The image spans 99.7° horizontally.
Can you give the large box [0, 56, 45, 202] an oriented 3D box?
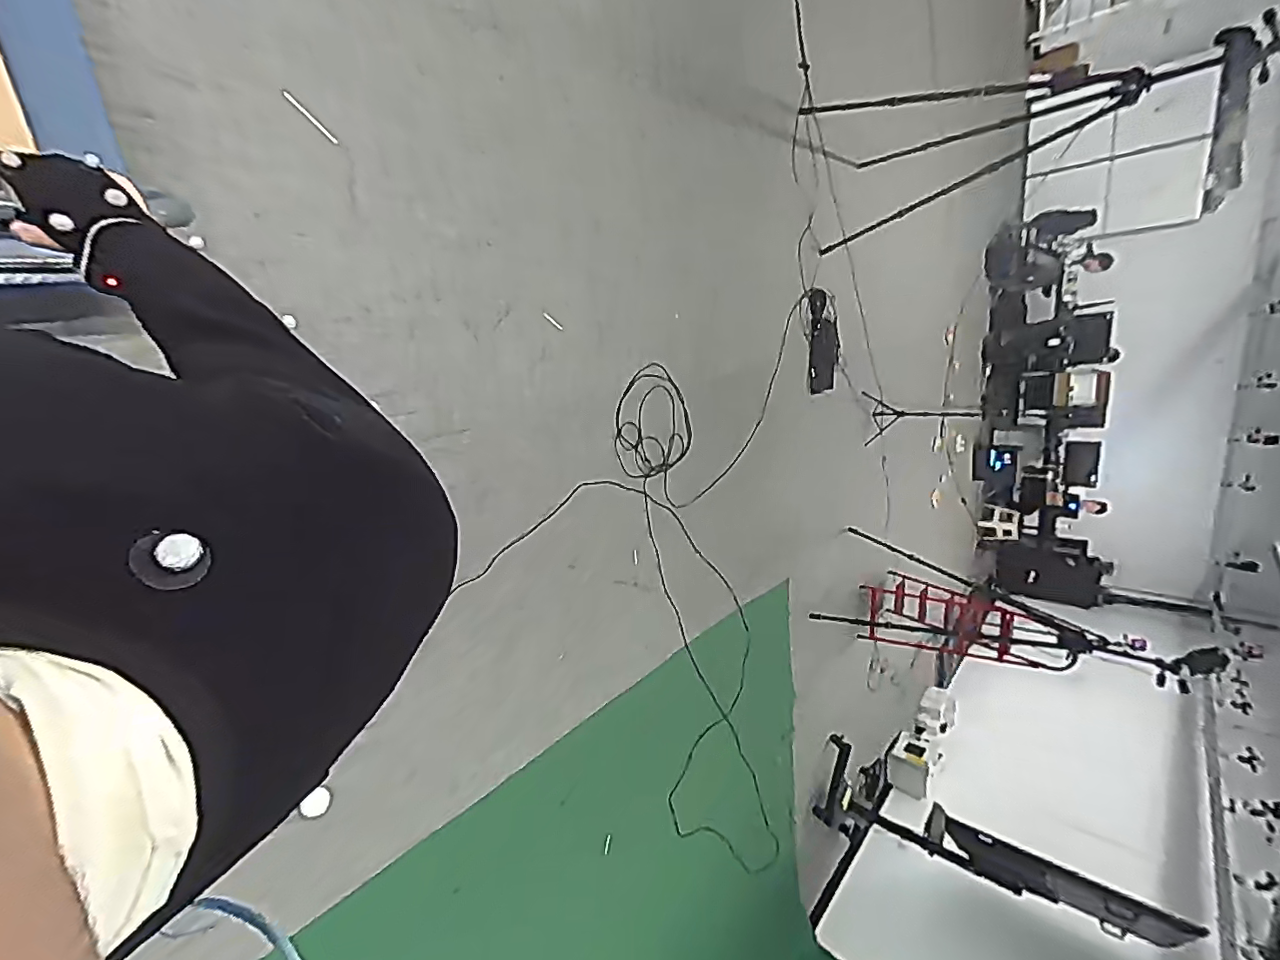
[{"bbox_3d":[-1.106,-0.629,0.725,0.320,0.320,0.408,-23,112,-42],"label":"large box"}]
